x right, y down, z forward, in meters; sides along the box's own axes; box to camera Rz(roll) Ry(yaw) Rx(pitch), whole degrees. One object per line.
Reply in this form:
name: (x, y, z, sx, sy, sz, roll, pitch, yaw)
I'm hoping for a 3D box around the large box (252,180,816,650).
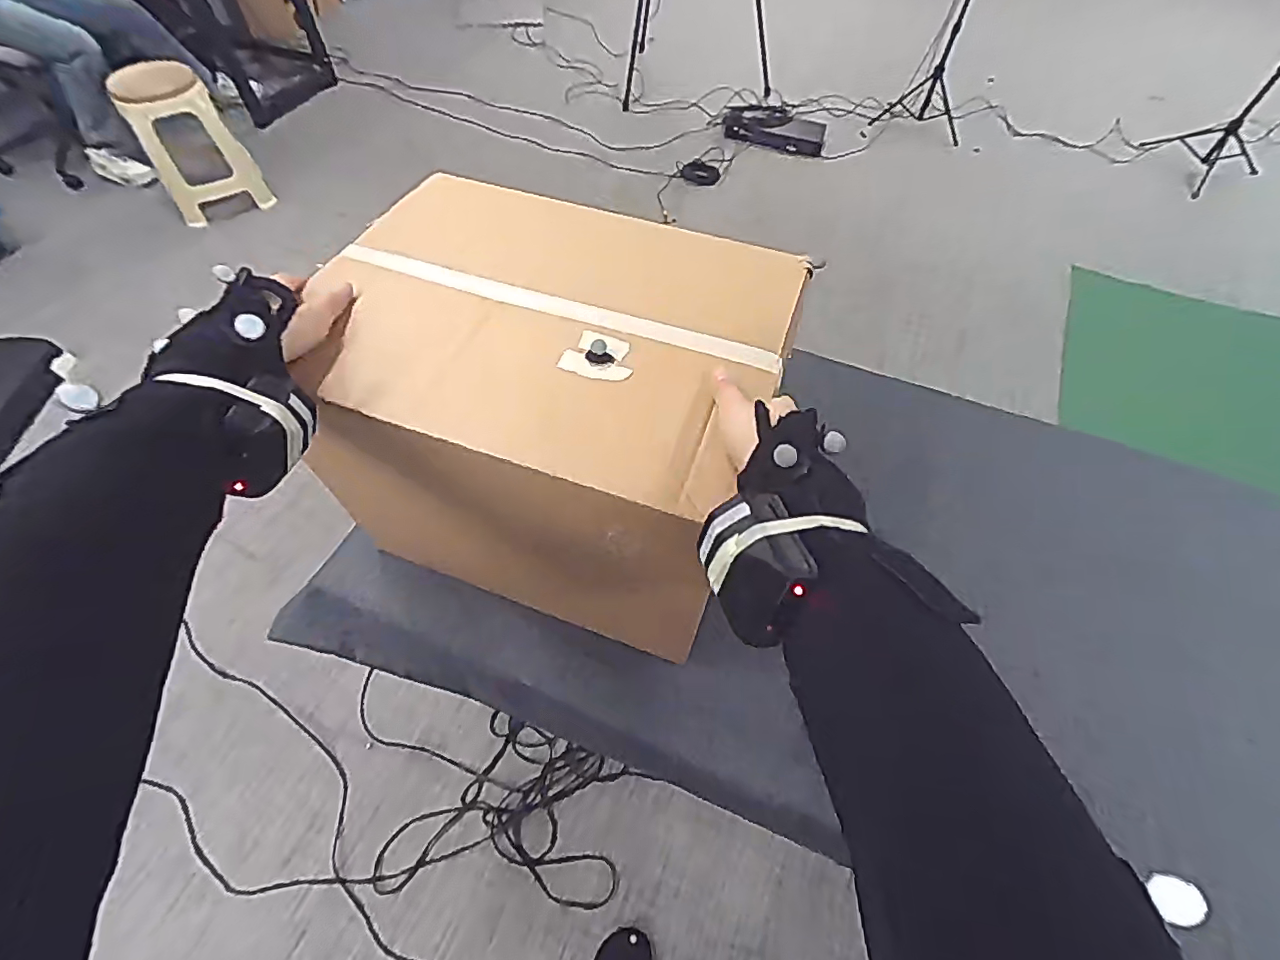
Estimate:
large box: (-0.074, -0.063, 0.590, 0.408, 0.320, 0.320, 18, 58, 9)
